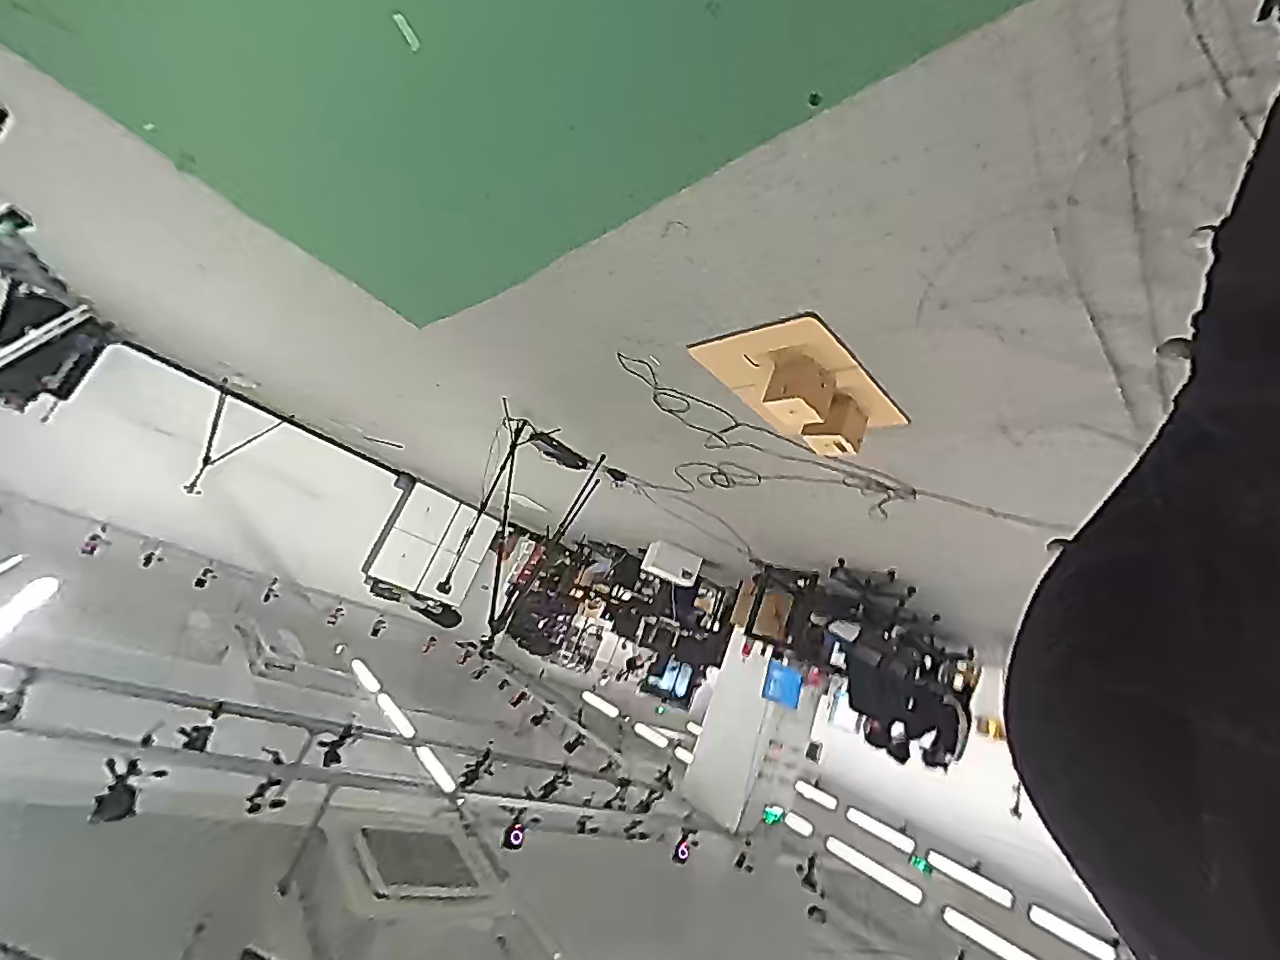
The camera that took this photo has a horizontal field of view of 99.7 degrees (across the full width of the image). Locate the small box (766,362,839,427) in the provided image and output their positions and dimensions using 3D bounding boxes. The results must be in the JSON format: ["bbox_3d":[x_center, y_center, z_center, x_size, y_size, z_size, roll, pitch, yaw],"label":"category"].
[{"bbox_3d":[0.604,-0.315,2.004,0.168,0.176,0.179,33,160,-31],"label":"small box"}]
